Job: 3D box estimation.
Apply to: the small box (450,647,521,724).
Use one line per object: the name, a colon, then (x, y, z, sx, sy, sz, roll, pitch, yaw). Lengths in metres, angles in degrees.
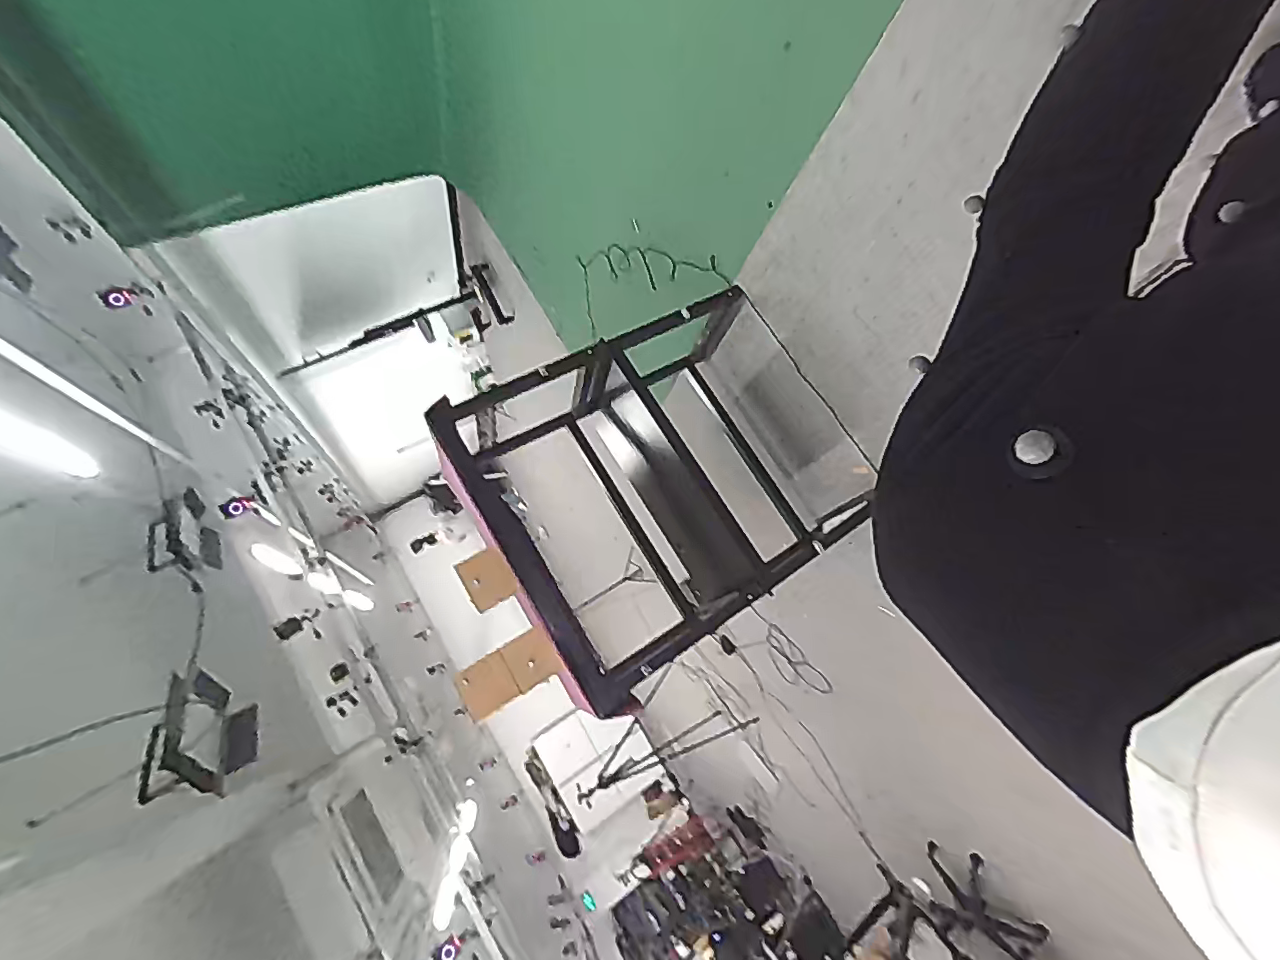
small box: (-0.505, 0.680, 1.800, 0.179, 0.176, 0.168, 58, 160, 13)

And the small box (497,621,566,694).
small box: (-0.369, 0.607, 1.853, 0.179, 0.176, 0.168, 57, 159, 12)

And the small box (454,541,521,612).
small box: (-0.532, 0.342, 1.911, 0.179, 0.176, 0.168, 58, 159, 11)
